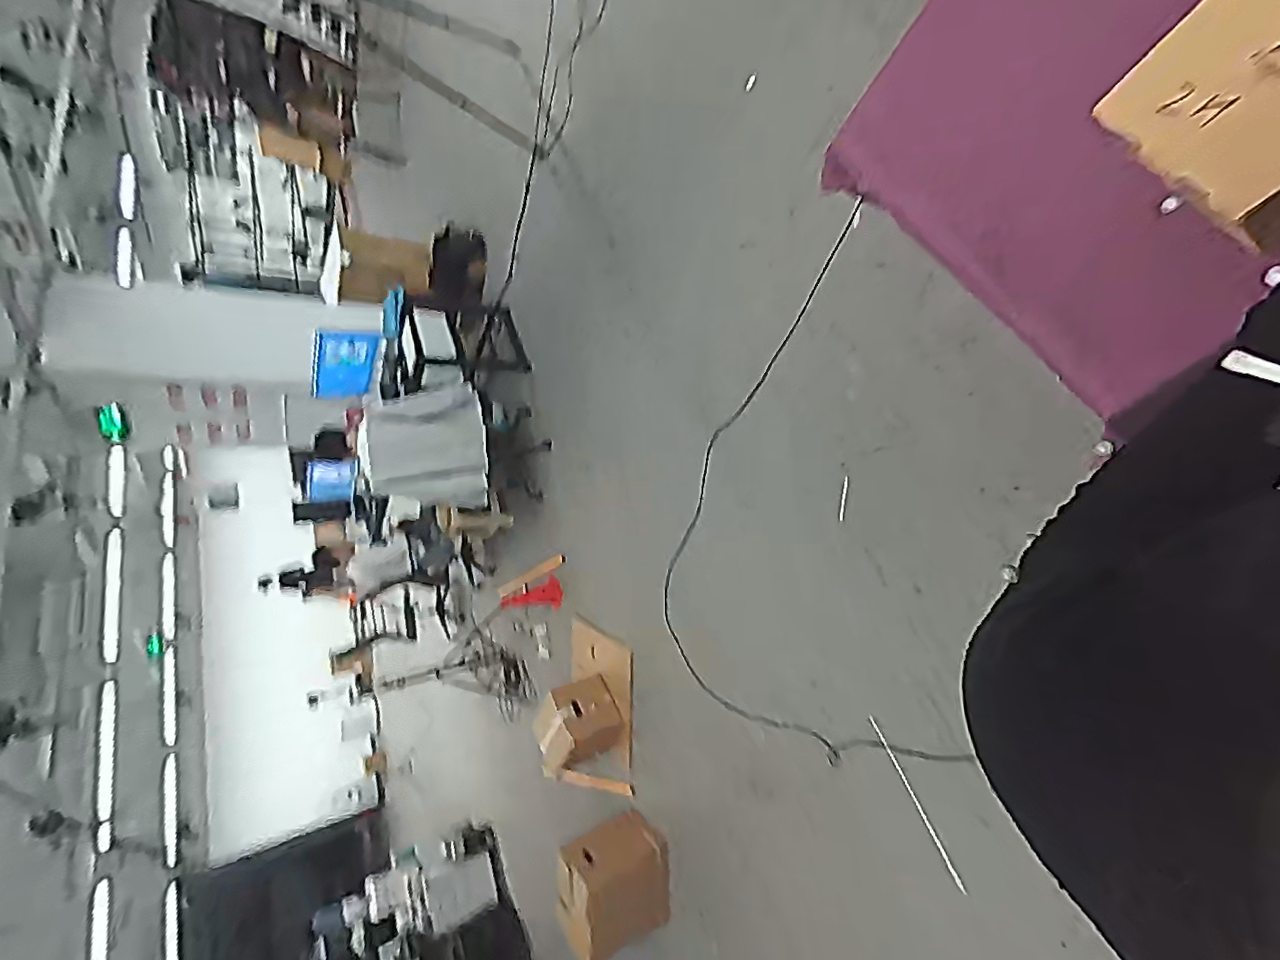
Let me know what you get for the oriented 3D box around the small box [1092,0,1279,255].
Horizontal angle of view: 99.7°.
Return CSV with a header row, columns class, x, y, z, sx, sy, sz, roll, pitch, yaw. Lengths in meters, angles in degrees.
class,x,y,z,sx,sy,sz,roll,pitch,yaw
small box,0.556,-0.326,0.463,0.179,0.176,0.168,-50,53,45
